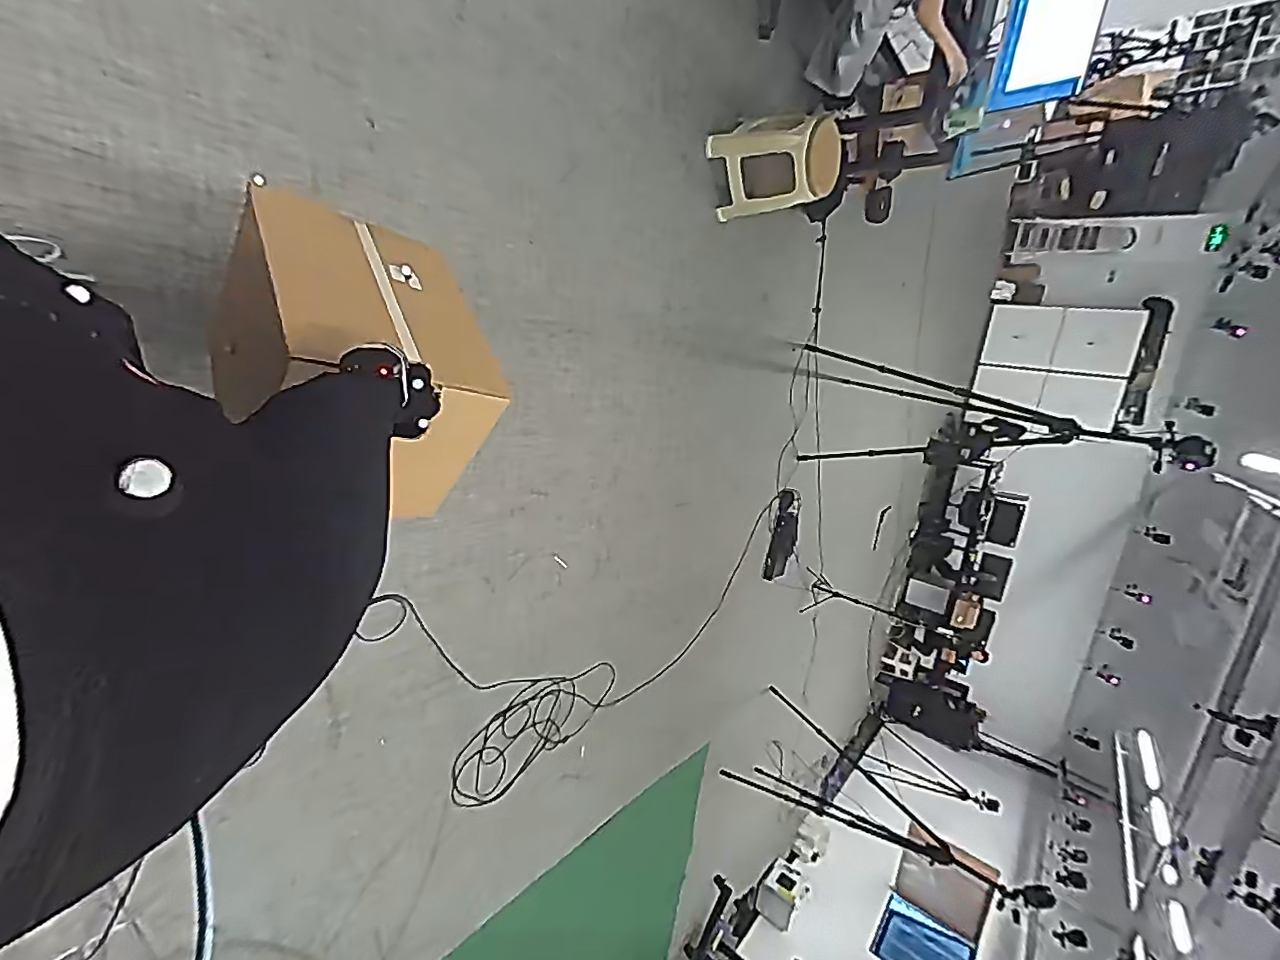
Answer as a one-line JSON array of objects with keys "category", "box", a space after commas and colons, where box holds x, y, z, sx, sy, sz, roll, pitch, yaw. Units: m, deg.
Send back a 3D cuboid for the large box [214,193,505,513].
[{"category": "large box", "box": [-0.496, -0.190, 0.926, 0.320, 0.408, 0.320, 5, 135, -48]}]
